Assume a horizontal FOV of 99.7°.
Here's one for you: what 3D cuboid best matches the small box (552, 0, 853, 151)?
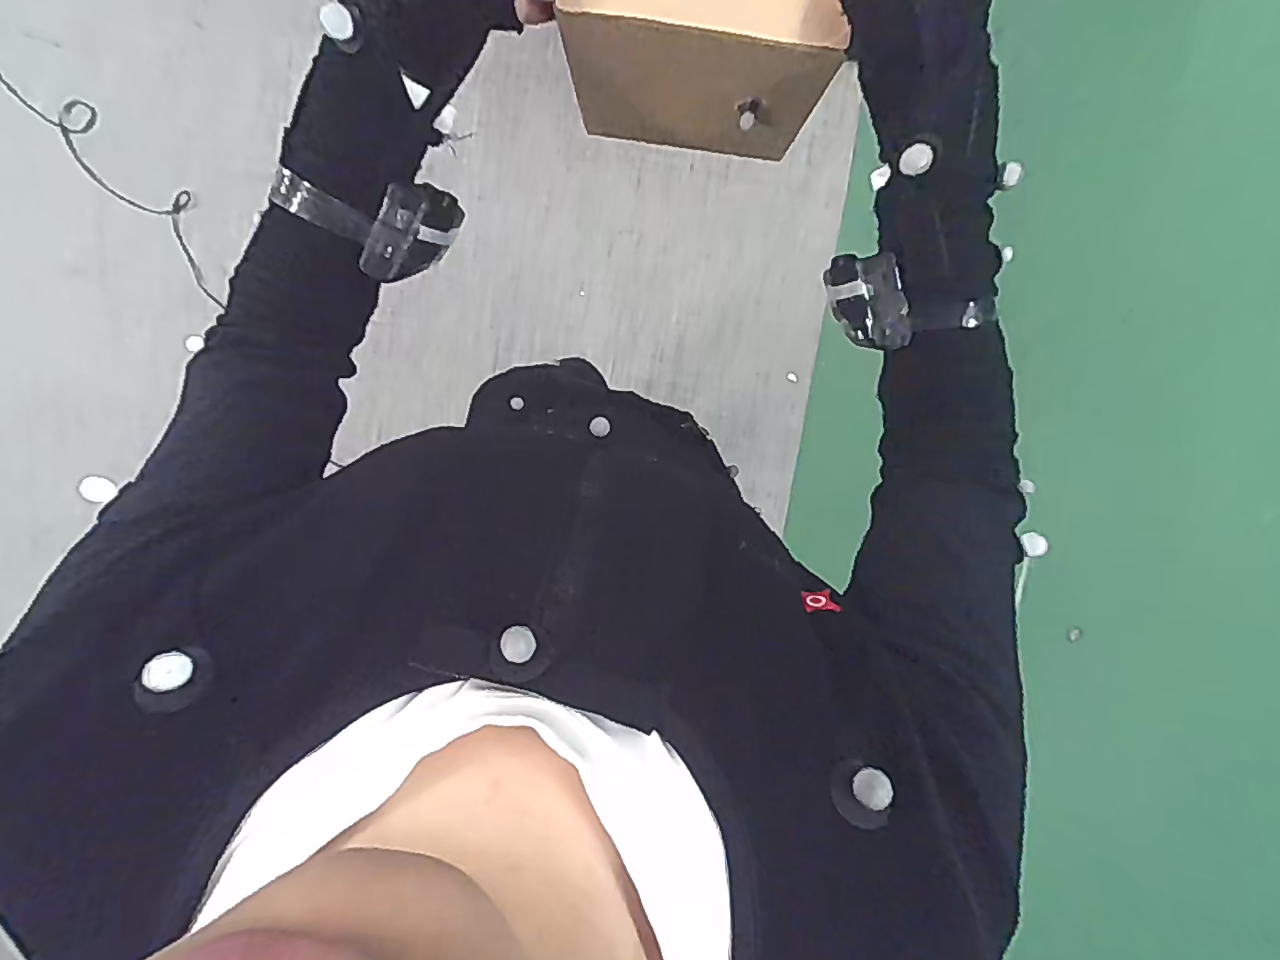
[{"bbox_3d":[0.047,-0.358,0.379,0.179,0.176,0.168,8,100,1],"label":"small box"}]
